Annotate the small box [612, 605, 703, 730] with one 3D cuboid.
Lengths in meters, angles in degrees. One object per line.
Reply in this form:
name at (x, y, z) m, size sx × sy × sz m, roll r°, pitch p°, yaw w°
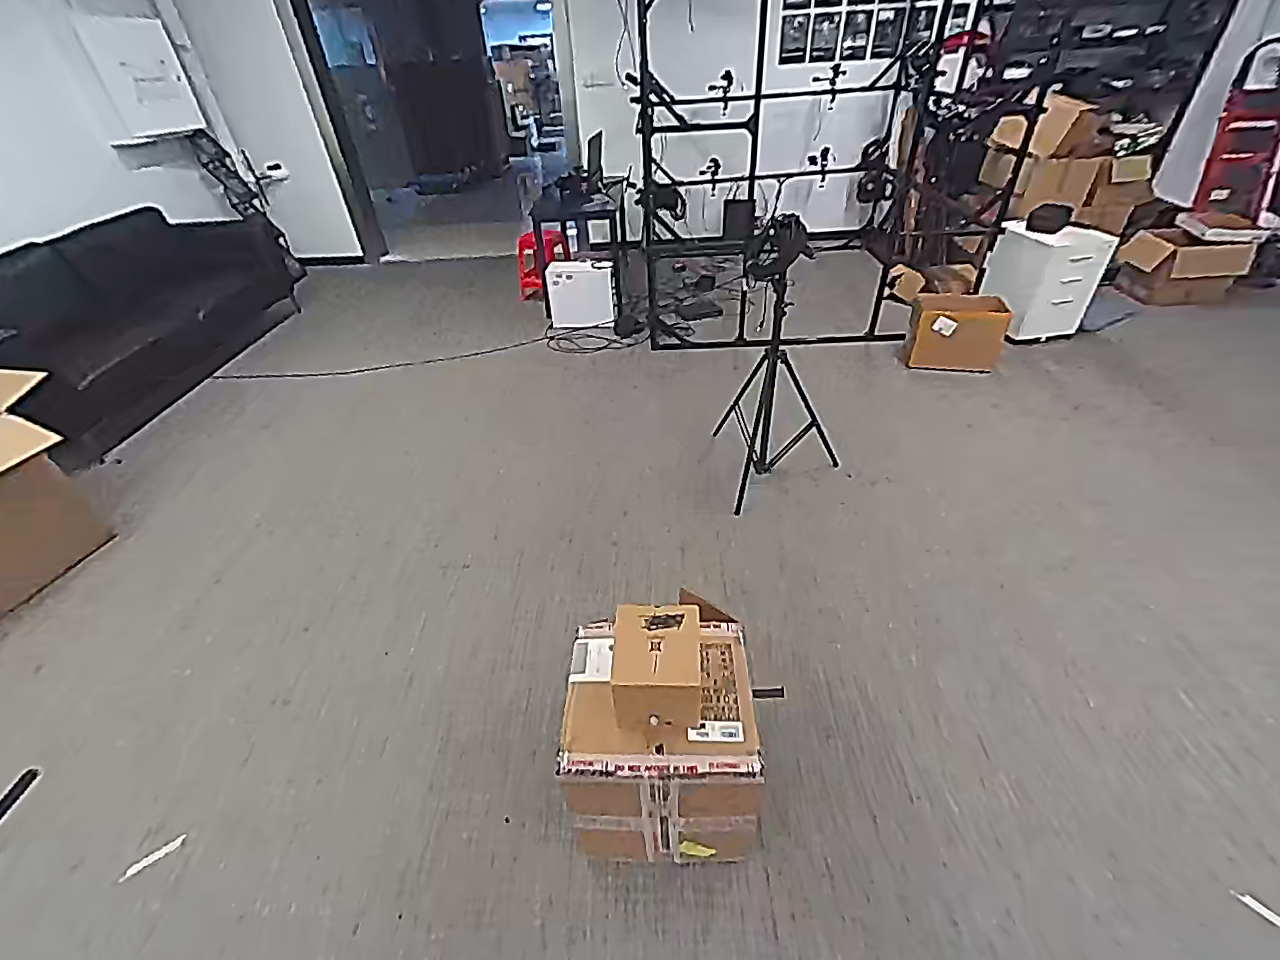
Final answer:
small box at (0.039, 0.372, 1.079) m, size 0.168 × 0.176 × 0.179 m, roll -1°, pitch 41°, yaw 4°
